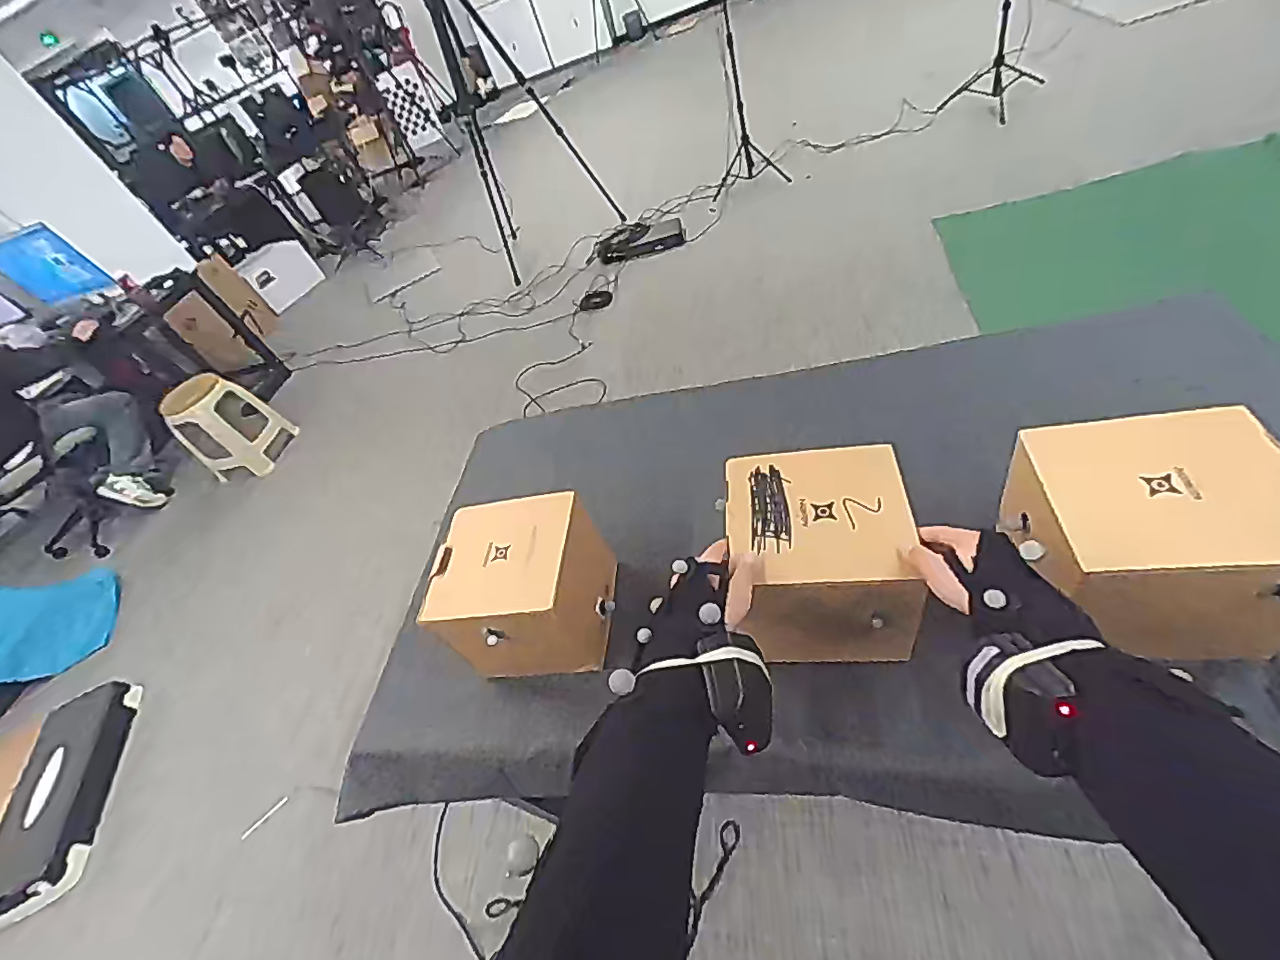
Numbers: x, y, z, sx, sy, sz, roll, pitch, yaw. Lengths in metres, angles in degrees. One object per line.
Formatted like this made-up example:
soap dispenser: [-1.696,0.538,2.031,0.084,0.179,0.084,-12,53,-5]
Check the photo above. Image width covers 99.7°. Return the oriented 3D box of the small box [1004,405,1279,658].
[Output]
small box: [0.466,0.056,0.507,0.179,0.176,0.168,-6,48,18]

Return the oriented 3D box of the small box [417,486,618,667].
small box: [-0.143,0.132,0.700,0.179,0.176,0.168,-8,48,15]
